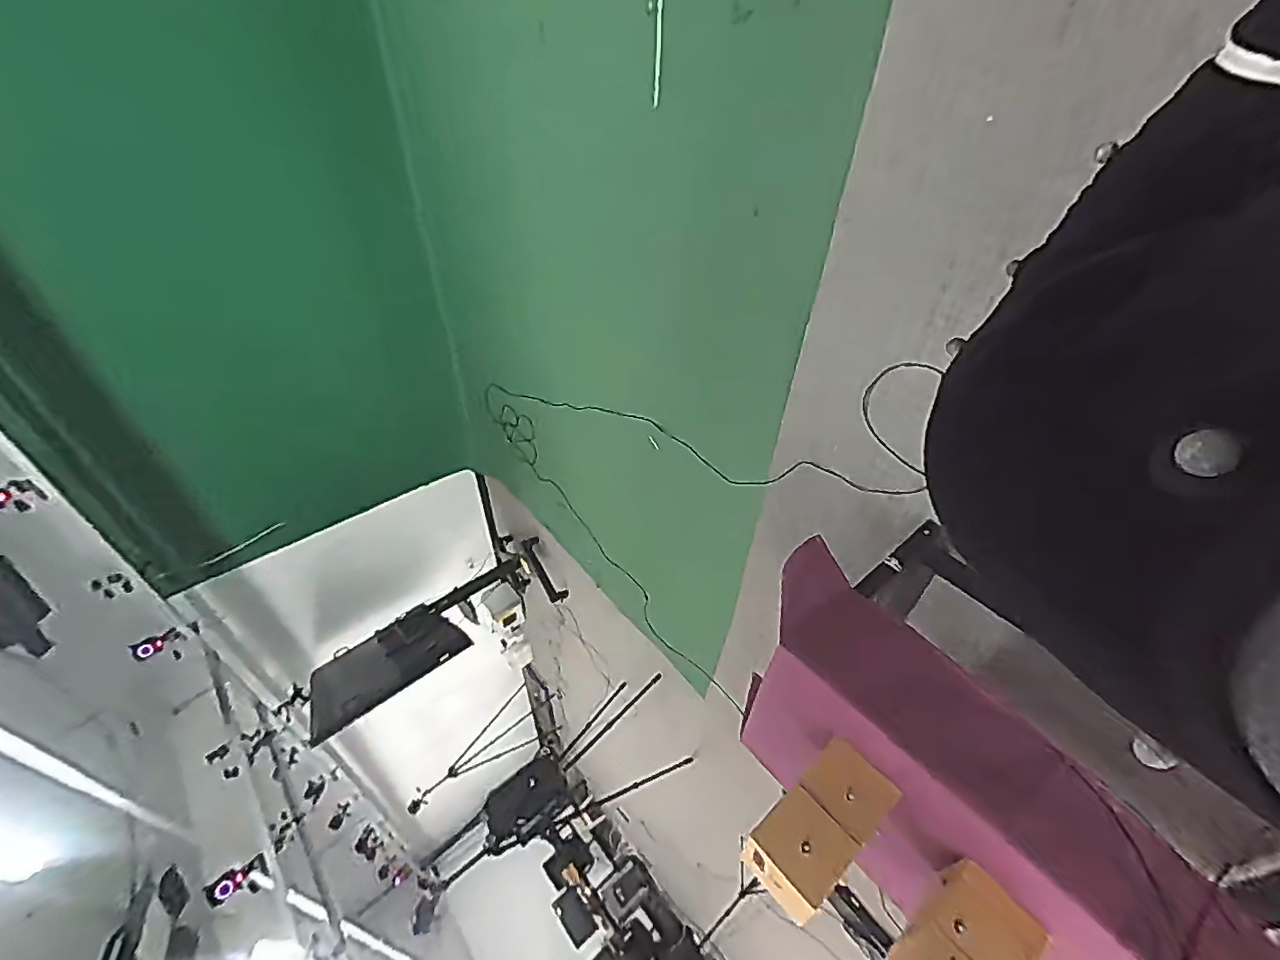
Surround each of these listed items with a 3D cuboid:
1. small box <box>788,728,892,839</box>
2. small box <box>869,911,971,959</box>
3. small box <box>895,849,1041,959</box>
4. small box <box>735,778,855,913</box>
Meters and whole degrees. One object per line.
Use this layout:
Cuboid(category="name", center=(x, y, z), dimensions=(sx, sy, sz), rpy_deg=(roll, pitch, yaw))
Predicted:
Cuboid(category="small box", center=(0.466, 0.737, 1.291), dimensions=(0.179, 0.176, 0.168), rpy_deg=(38, 143, 34))
Cuboid(category="small box", center=(0.550, 0.983, 1.047), dimensions=(0.168, 0.176, 0.179), rpy_deg=(41, 146, 34))
Cuboid(category="small box", center=(0.679, 0.920, 1.123), dimensions=(0.179, 0.176, 0.168), rpy_deg=(42, 146, 32))
Cuboid(category="small box", center=(0.341, 0.804, 1.208), dimensions=(0.179, 0.176, 0.168), rpy_deg=(39, 144, 33))
